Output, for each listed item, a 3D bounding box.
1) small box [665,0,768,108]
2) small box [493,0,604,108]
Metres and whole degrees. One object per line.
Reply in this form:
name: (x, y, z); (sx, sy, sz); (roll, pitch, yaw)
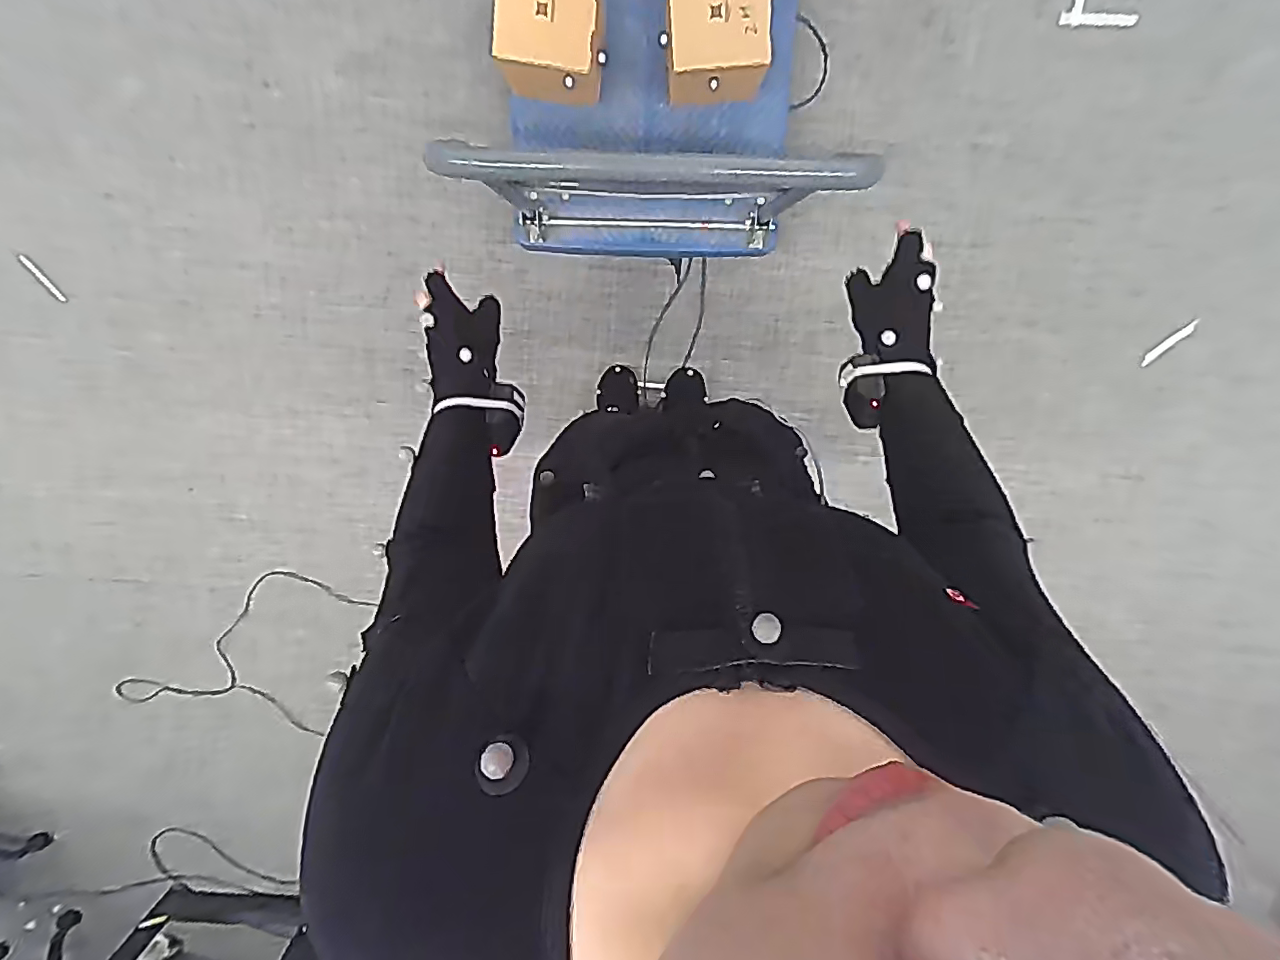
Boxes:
small box: (0.138, -0.829, 1.020); (0.179, 0.176, 0.168); (-4, 106, 1)
small box: (-0.166, -0.835, 1.022); (0.179, 0.176, 0.168); (7, 105, -3)
